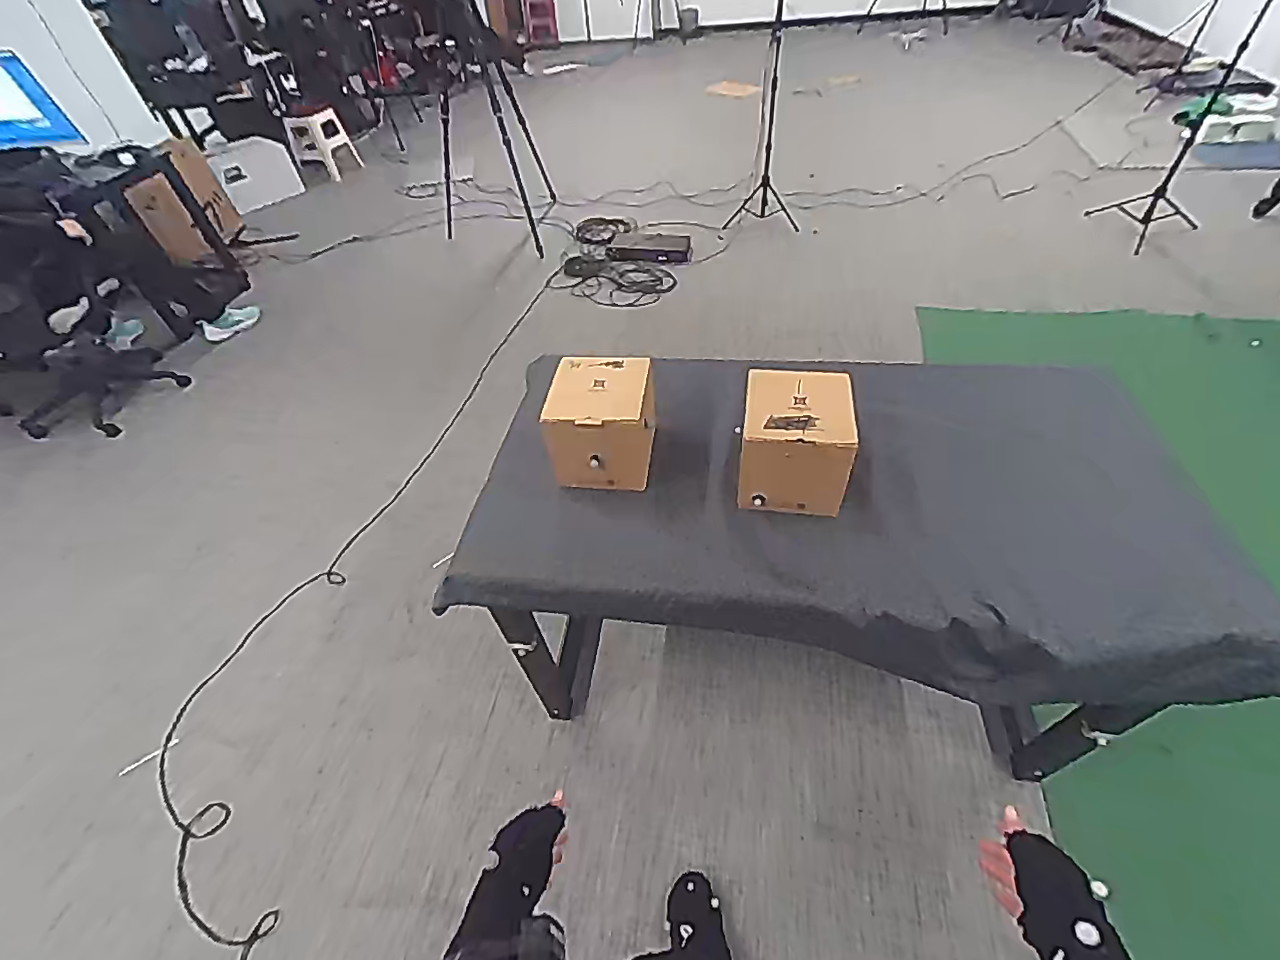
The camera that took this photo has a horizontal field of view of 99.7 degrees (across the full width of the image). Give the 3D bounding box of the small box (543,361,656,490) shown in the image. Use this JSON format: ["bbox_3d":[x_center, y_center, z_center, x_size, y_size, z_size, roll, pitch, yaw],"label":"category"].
[{"bbox_3d":[-0.063,-0.097,0.989,0.168,0.176,0.179,2,49,8],"label":"small box"}]

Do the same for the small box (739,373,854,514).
[{"bbox_3d":[0.259,-0.061,0.918,0.168,0.176,0.179,5,47,11],"label":"small box"}]
